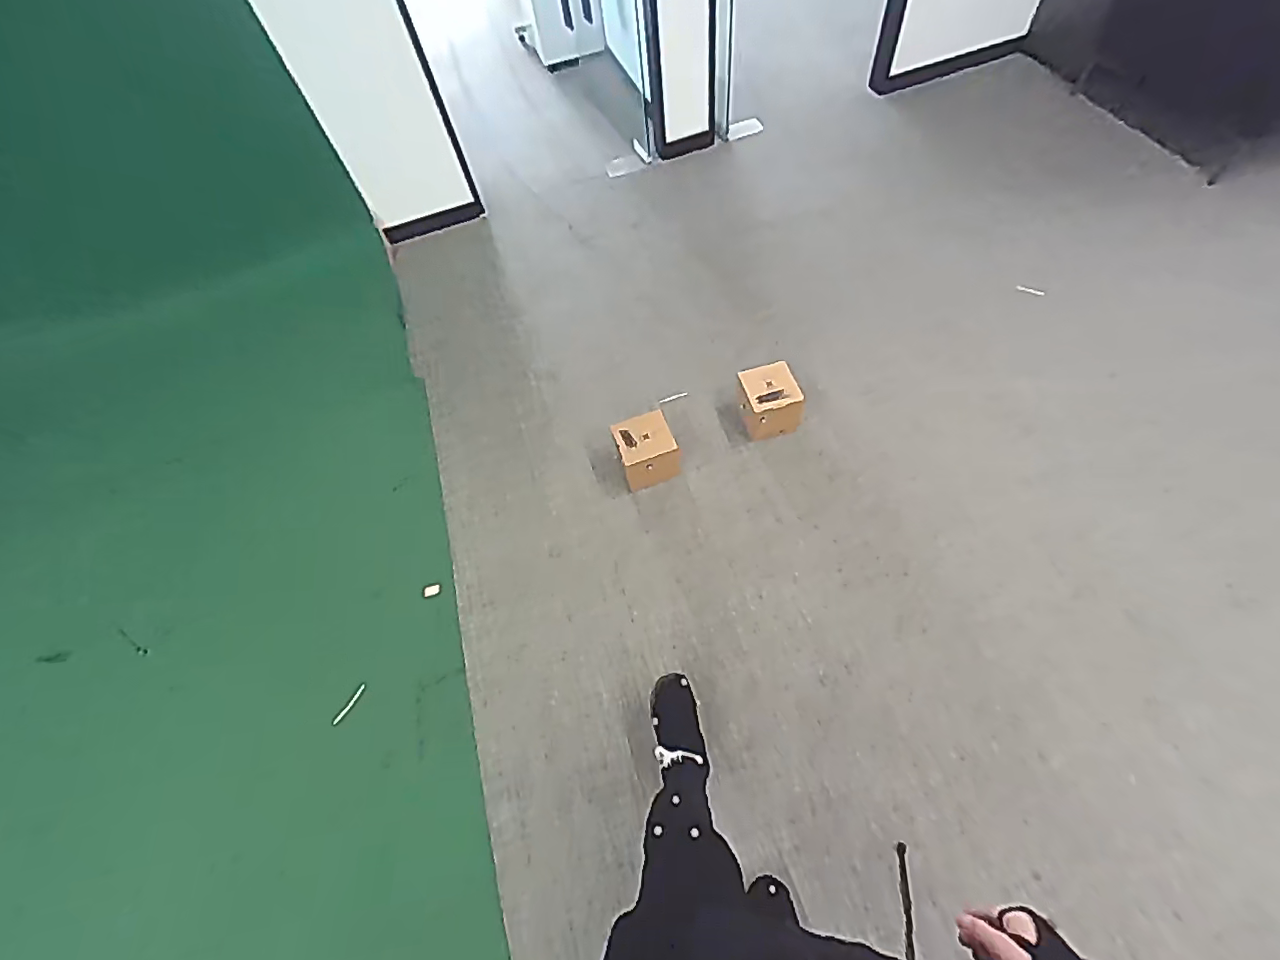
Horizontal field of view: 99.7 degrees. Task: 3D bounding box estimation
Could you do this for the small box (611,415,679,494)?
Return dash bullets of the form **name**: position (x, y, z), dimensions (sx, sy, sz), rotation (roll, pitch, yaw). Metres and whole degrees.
- **small box**: position (0.020, -0.079, 1.771), dimensions (0.179, 0.176, 0.168), rotation (-19, 59, -5)
